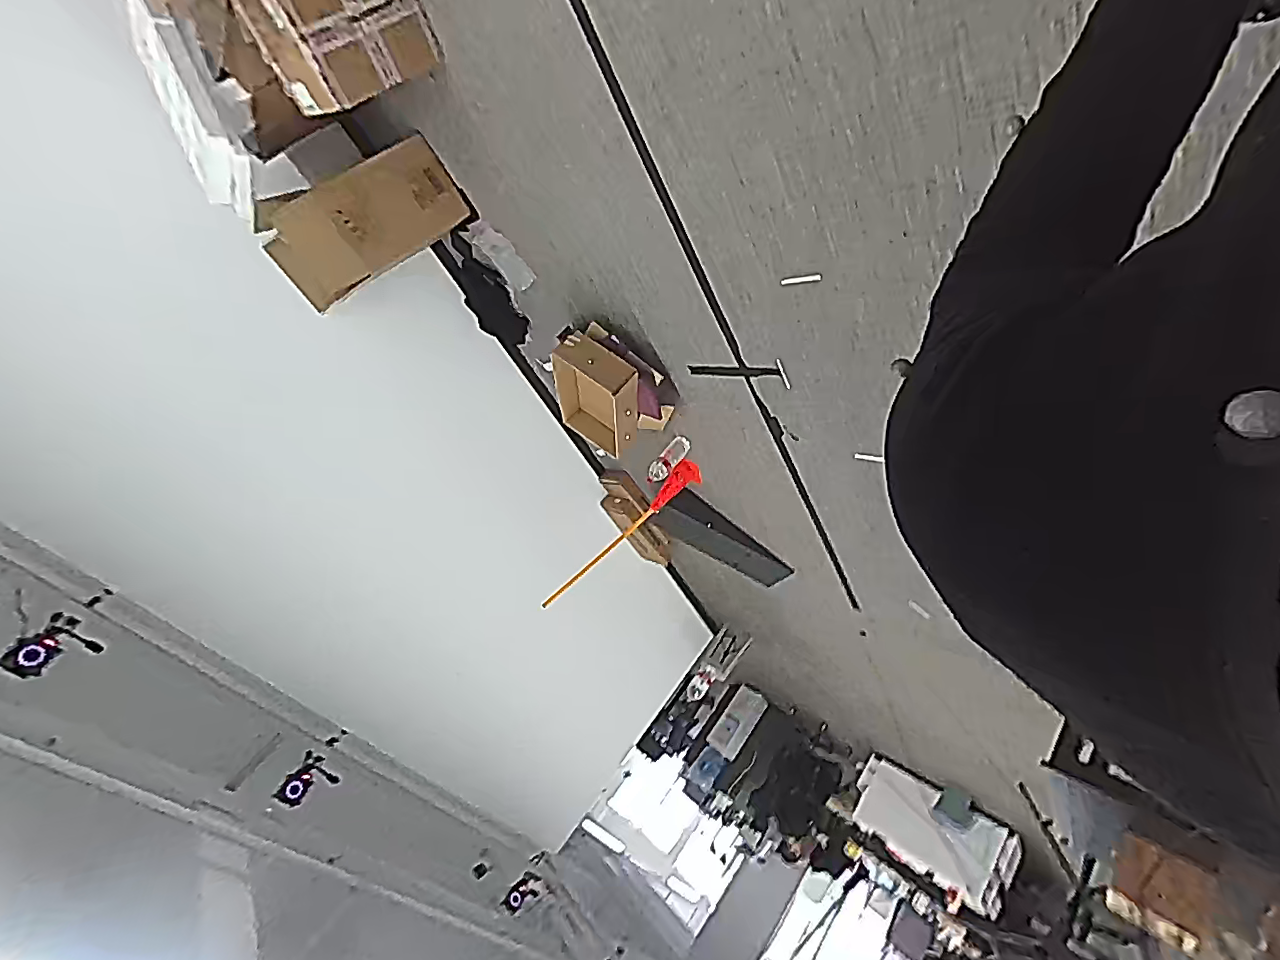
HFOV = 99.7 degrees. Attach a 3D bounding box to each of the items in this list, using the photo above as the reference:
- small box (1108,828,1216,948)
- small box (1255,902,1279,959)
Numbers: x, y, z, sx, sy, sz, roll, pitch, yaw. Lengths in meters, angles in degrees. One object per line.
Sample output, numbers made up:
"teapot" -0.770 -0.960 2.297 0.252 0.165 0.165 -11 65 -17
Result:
"small box" 1.372 1.069 1.425 0.179 0.176 0.168 17 148 49
"small box" 1.529 1.105 1.220 0.168 0.176 0.179 16 148 49
